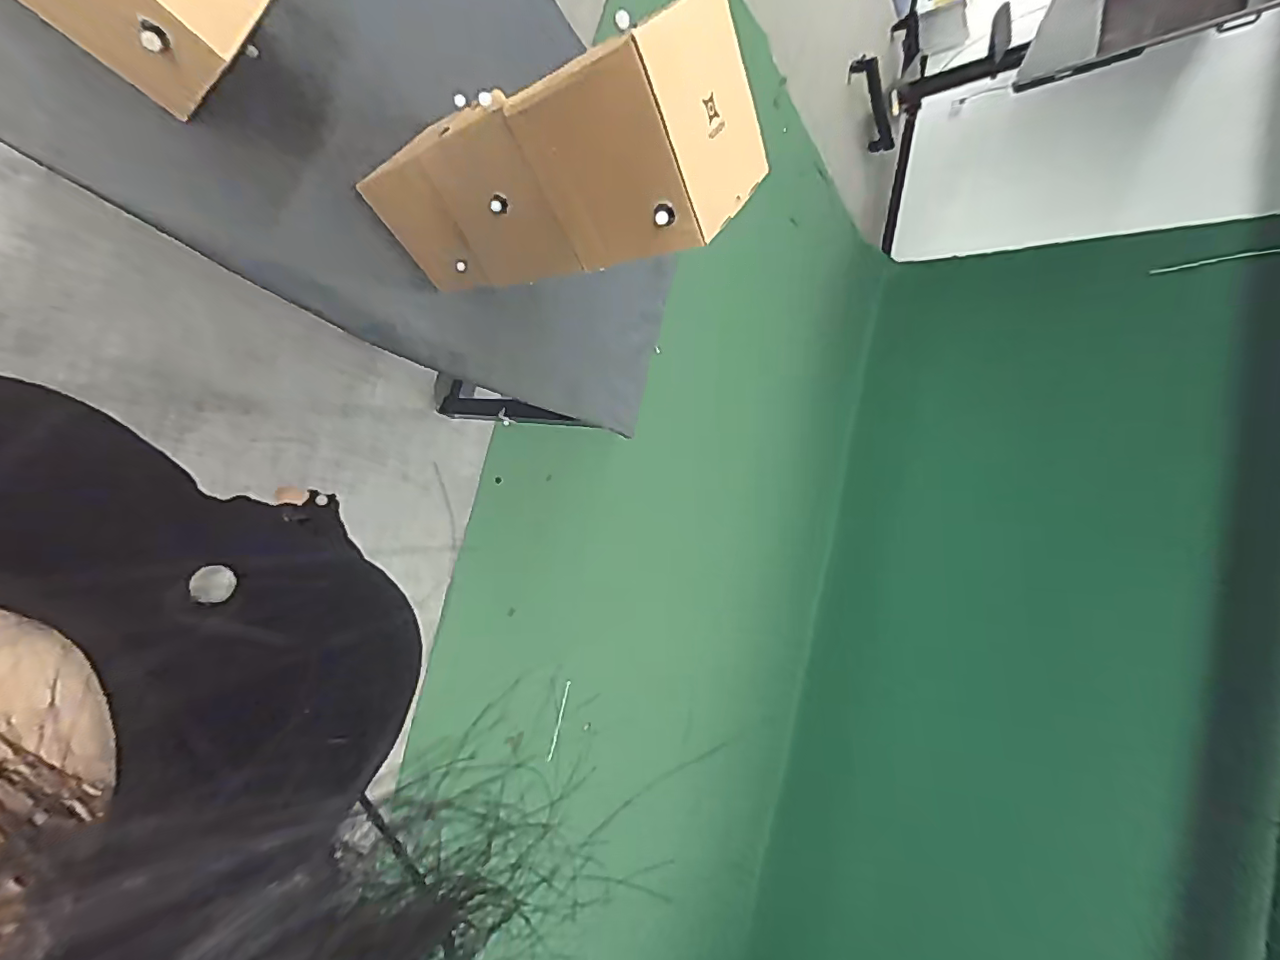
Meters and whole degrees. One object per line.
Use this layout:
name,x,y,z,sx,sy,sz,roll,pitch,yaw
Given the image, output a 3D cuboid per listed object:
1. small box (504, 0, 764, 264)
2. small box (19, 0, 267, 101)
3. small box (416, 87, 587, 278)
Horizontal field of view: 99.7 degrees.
small box,-0.001,-0.345,0.546,0.168,0.176,0.179,-56,135,-29
small box,-0.458,-0.487,0.488,0.179,0.176,0.168,34,69,-47
small box,-0.124,-0.362,0.651,0.168,0.176,0.179,-54,133,-30
